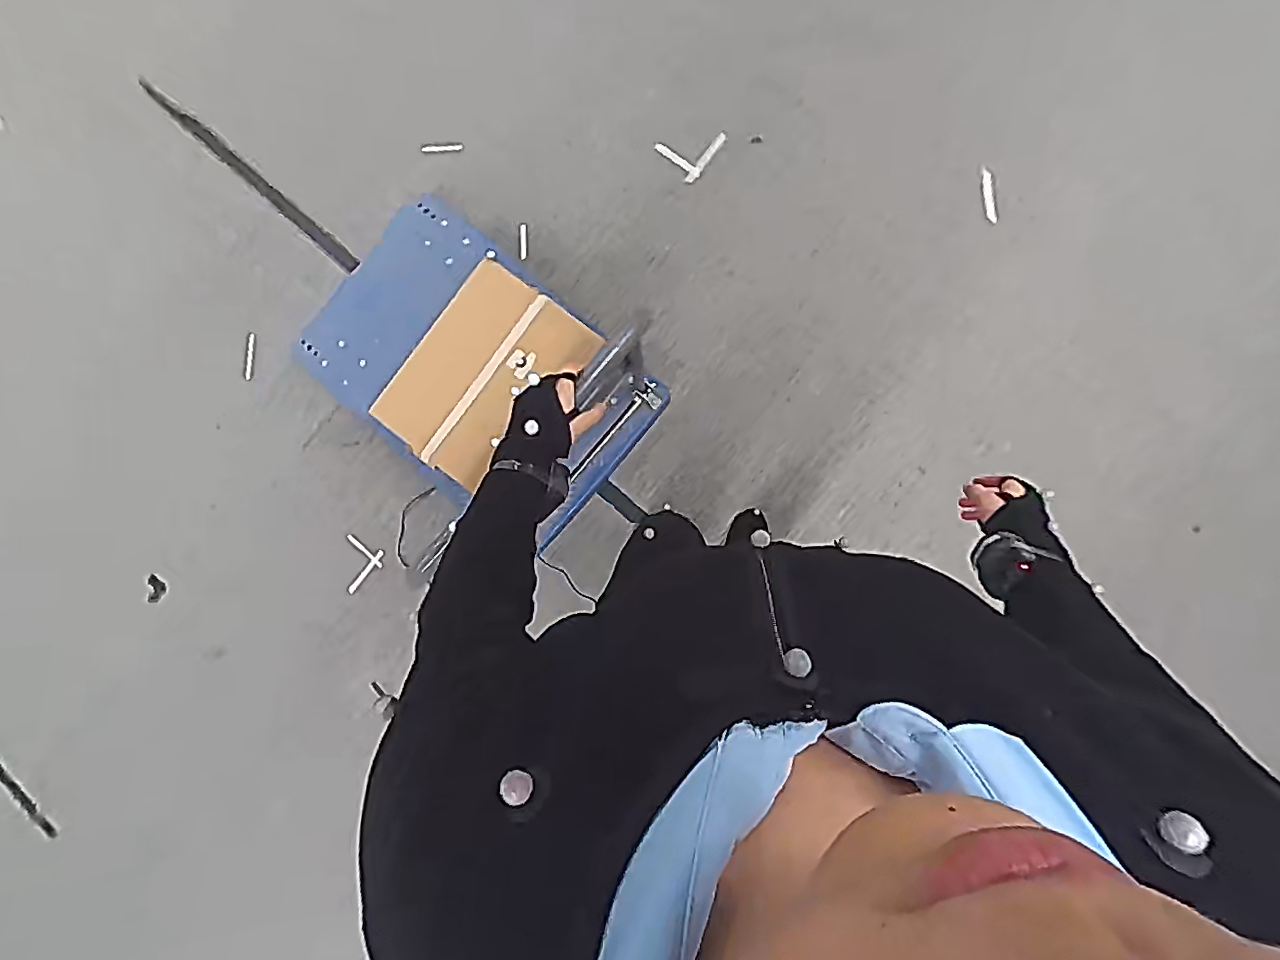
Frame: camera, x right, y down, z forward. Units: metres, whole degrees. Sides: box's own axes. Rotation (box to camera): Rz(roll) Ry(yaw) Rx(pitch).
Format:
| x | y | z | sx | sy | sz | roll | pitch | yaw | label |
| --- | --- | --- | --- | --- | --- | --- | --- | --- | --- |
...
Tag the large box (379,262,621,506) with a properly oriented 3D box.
| x | y | z | sx | sy | sz | roll | pitch | yaw | label |
| --- | --- | --- | --- | --- | --- | --- | --- | --- | --- |
| -0.291 | -0.190 | 1.240 | 0.320 | 0.320 | 0.408 | 37 | 88 | 5 | large box |
